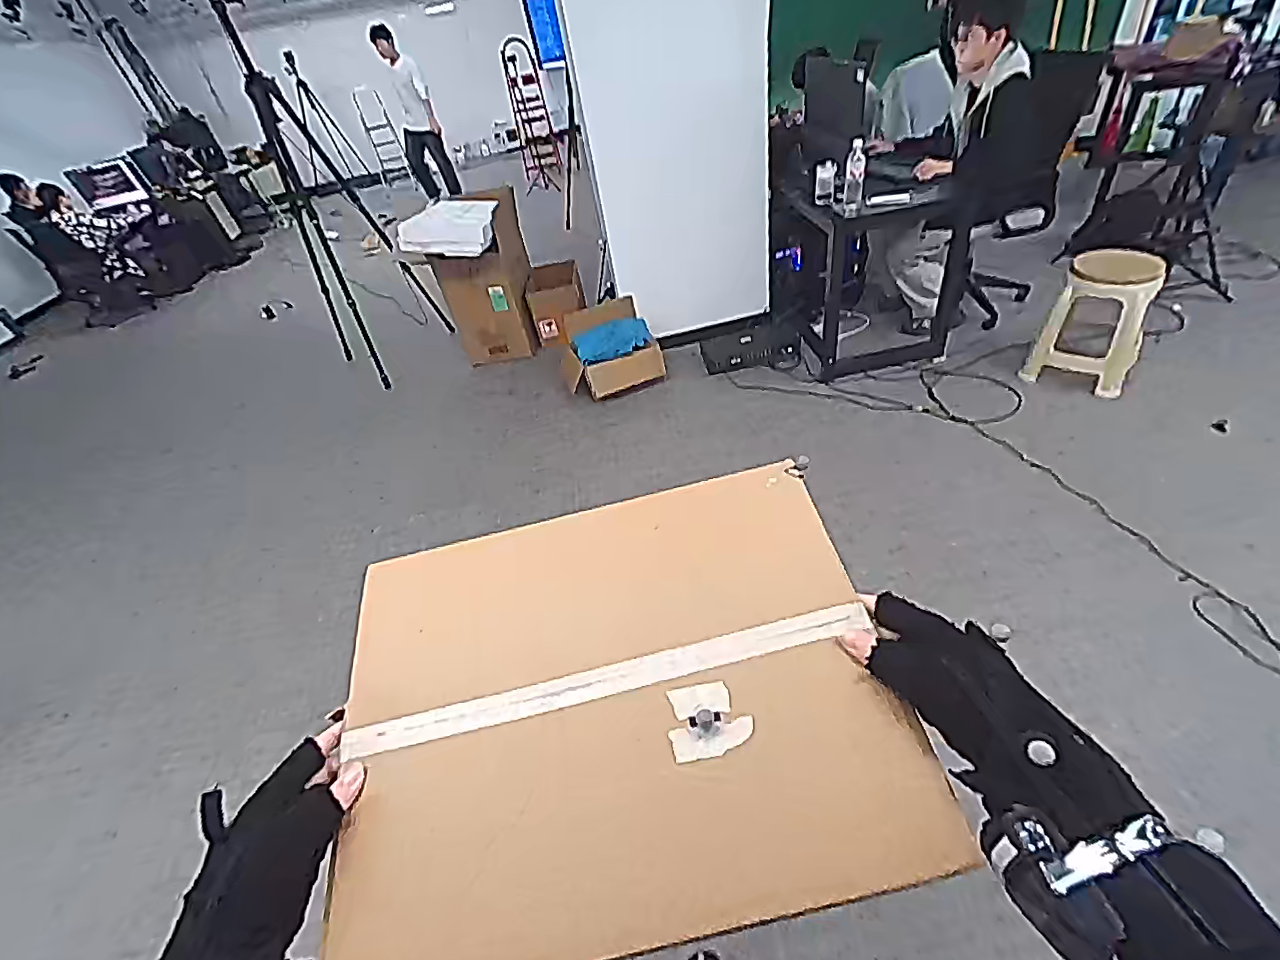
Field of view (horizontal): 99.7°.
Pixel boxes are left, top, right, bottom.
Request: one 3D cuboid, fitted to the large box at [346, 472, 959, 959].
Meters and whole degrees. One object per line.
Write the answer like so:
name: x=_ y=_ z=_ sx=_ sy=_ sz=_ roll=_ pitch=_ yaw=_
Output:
large box: x=-0.001 y=0.246 z=0.539 sx=0.408 sy=0.320 sz=0.320 roll=-14 pitch=53 yaw=-1
